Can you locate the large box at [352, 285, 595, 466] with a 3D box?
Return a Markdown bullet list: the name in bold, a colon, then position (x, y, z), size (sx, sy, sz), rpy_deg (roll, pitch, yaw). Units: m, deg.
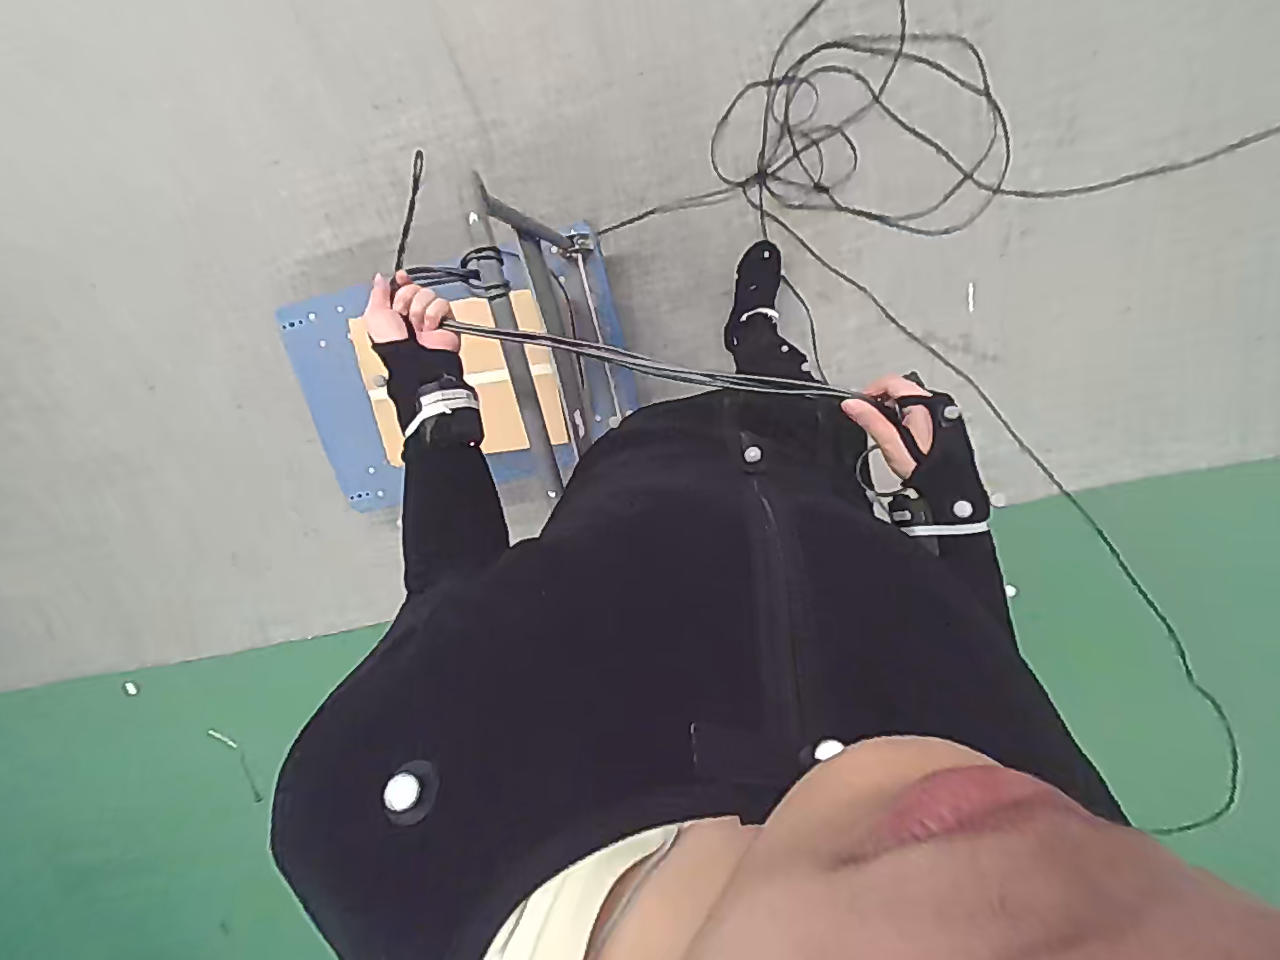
- **large box**: position (-0.346, -0.244, 1.237), size (0.408, 0.320, 0.320), rpy_deg (-7, 106, 7)
